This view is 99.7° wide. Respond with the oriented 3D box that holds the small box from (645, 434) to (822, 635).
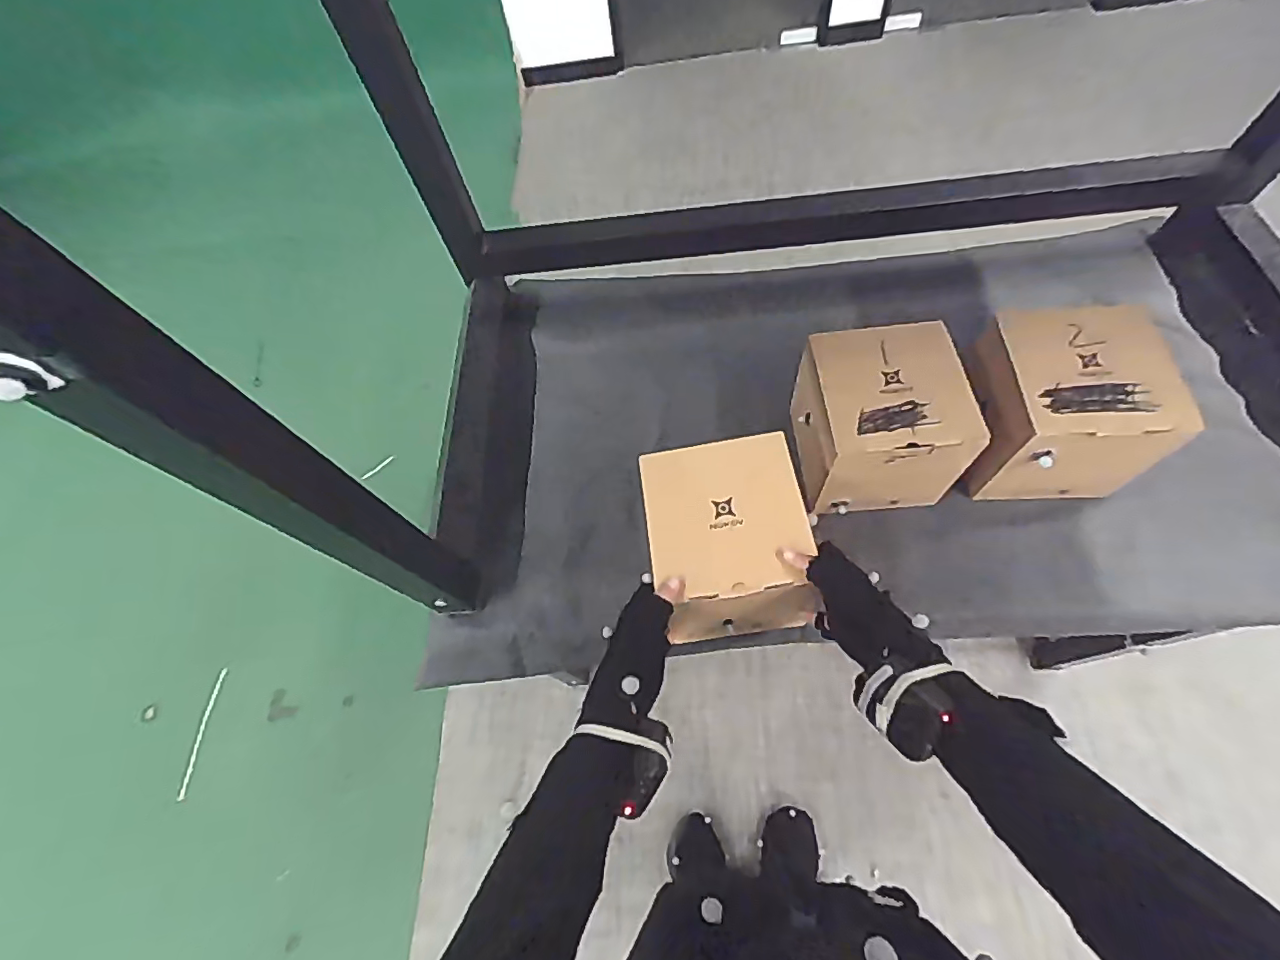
[{"bbox_3d":[0.104,0.072,0.650,0.168,0.176,0.179,-10,61,5],"label":"small box"}]
